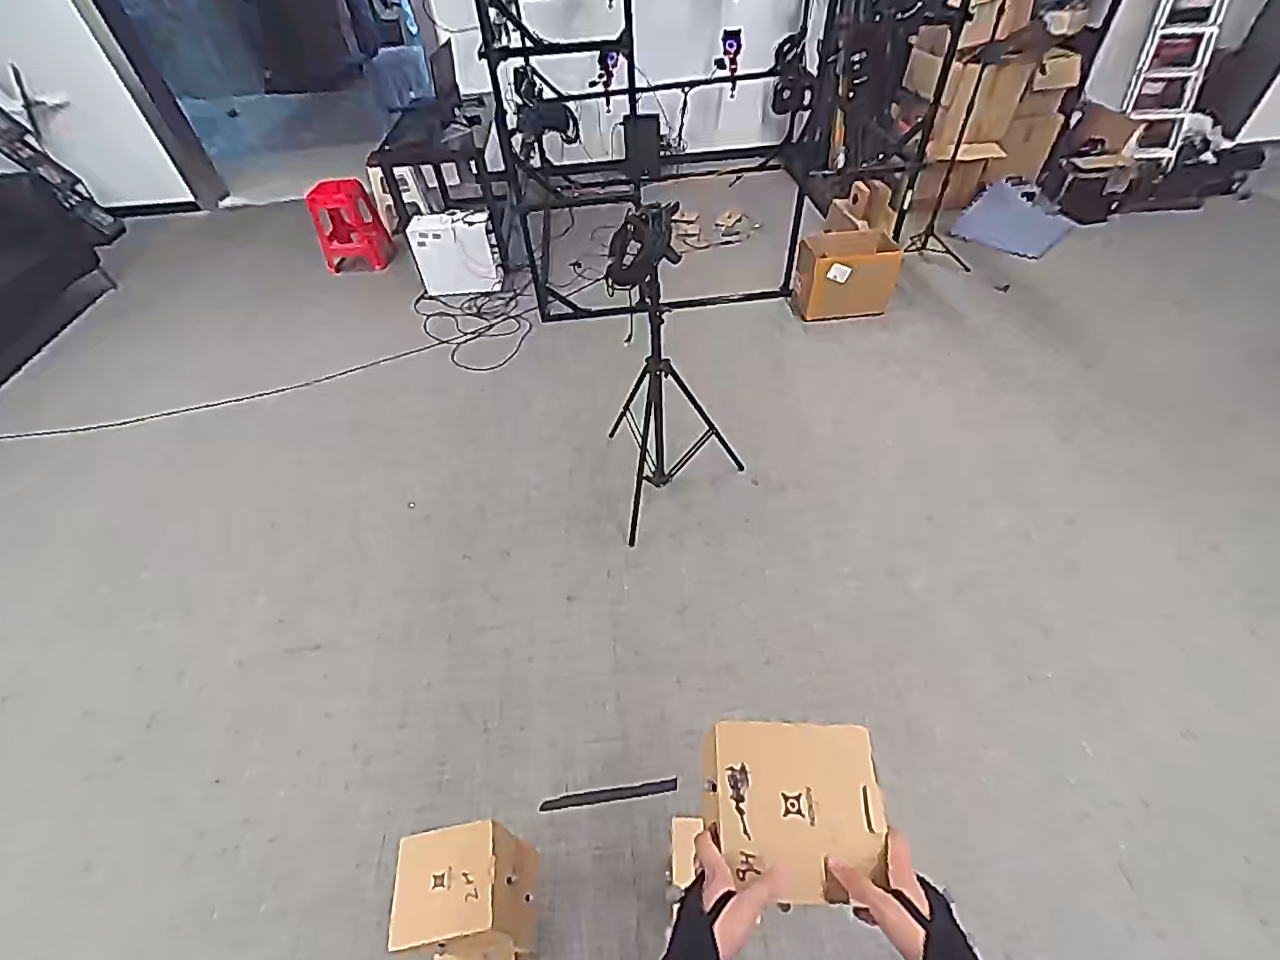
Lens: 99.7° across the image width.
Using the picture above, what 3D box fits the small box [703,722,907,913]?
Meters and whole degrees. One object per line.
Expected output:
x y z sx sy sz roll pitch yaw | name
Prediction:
0.171 0.386 0.626 0.179 0.176 0.168 1 56 0 | small box

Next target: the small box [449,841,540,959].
-0.307 0.868 1.115 0.168 0.176 0.179 -5 47 2 | small box

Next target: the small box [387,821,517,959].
-0.334 0.757 0.995 0.179 0.176 0.168 -10 47 -4 | small box

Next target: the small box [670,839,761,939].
0.167 0.934 1.239 0.179 0.176 0.168 -6 47 -2 | small box
